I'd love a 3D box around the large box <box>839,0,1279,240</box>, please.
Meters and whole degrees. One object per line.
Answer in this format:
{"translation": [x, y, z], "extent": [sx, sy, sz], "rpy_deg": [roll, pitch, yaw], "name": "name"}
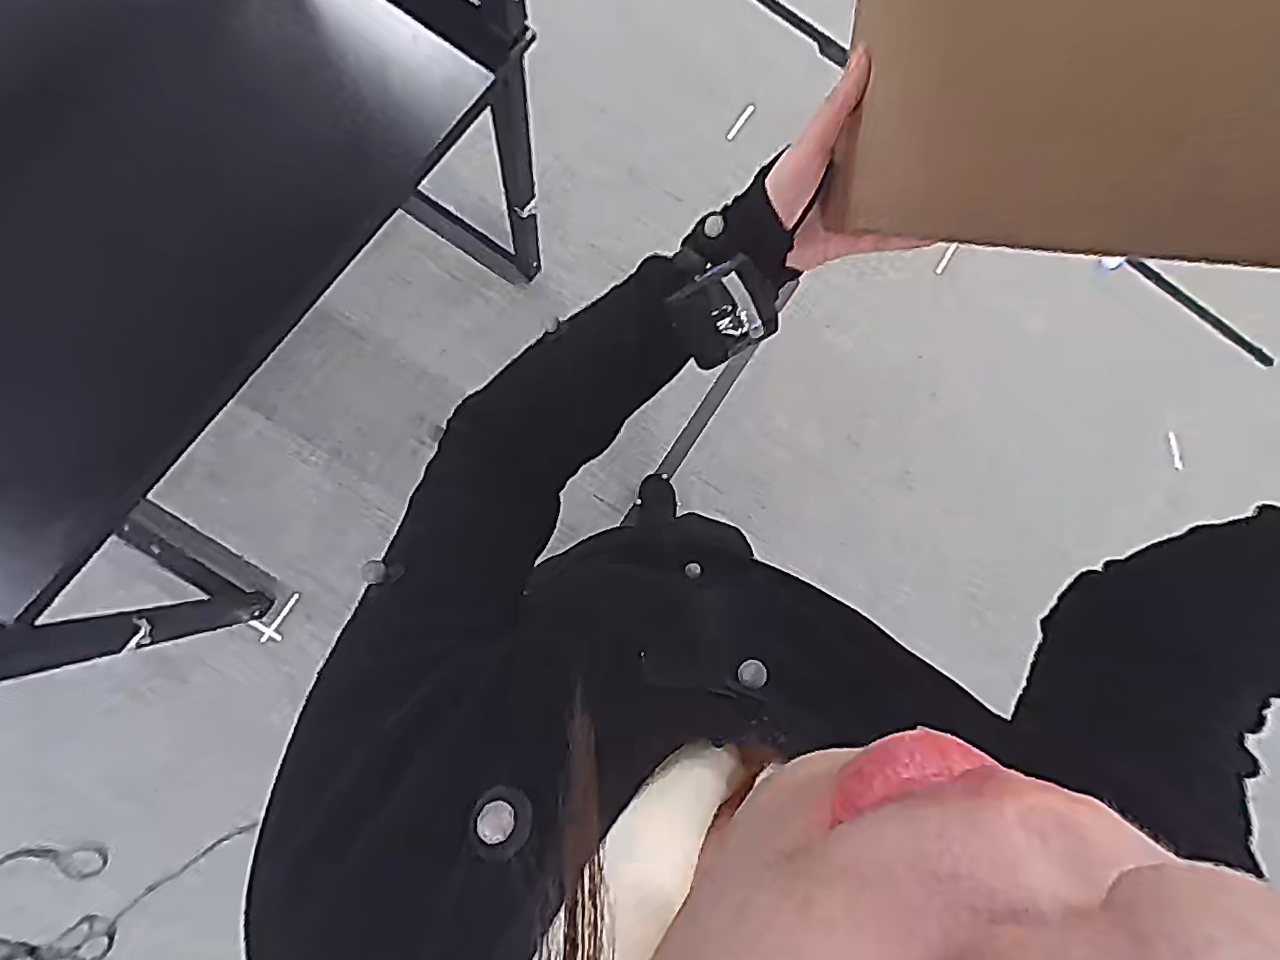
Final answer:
{"translation": [0.283, -0.293, 0.148], "extent": [0.320, 0.320, 0.408], "rpy_deg": [-2, 116, -4], "name": "large box"}
